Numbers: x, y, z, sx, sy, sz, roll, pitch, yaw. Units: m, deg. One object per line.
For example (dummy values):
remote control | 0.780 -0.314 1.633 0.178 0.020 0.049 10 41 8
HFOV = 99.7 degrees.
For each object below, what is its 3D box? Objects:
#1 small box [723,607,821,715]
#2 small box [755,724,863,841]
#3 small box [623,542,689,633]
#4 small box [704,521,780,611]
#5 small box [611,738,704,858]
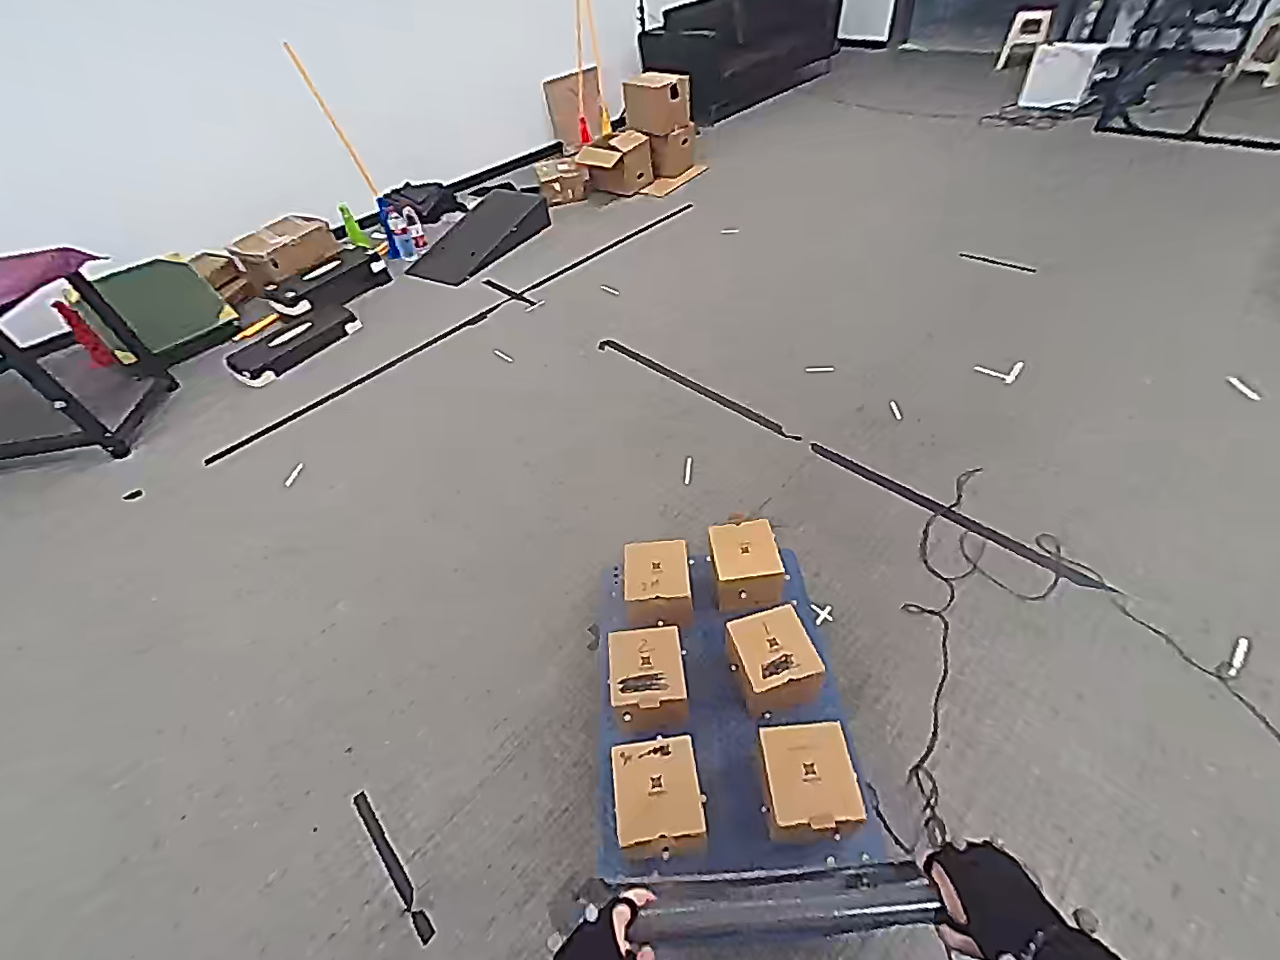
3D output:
small box | 0.304 0.435 1.279 0.168 0.176 0.179 -15 46 -7
small box | 0.333 0.620 1.102 0.168 0.176 0.179 -5 46 2
small box | 0.043 0.289 1.447 0.168 0.176 0.179 -5 48 3
small box | 0.272 0.240 1.467 0.168 0.176 0.179 -8 46 0
small box | 0.036 0.655 1.106 0.168 0.176 0.179 -8 47 -1
